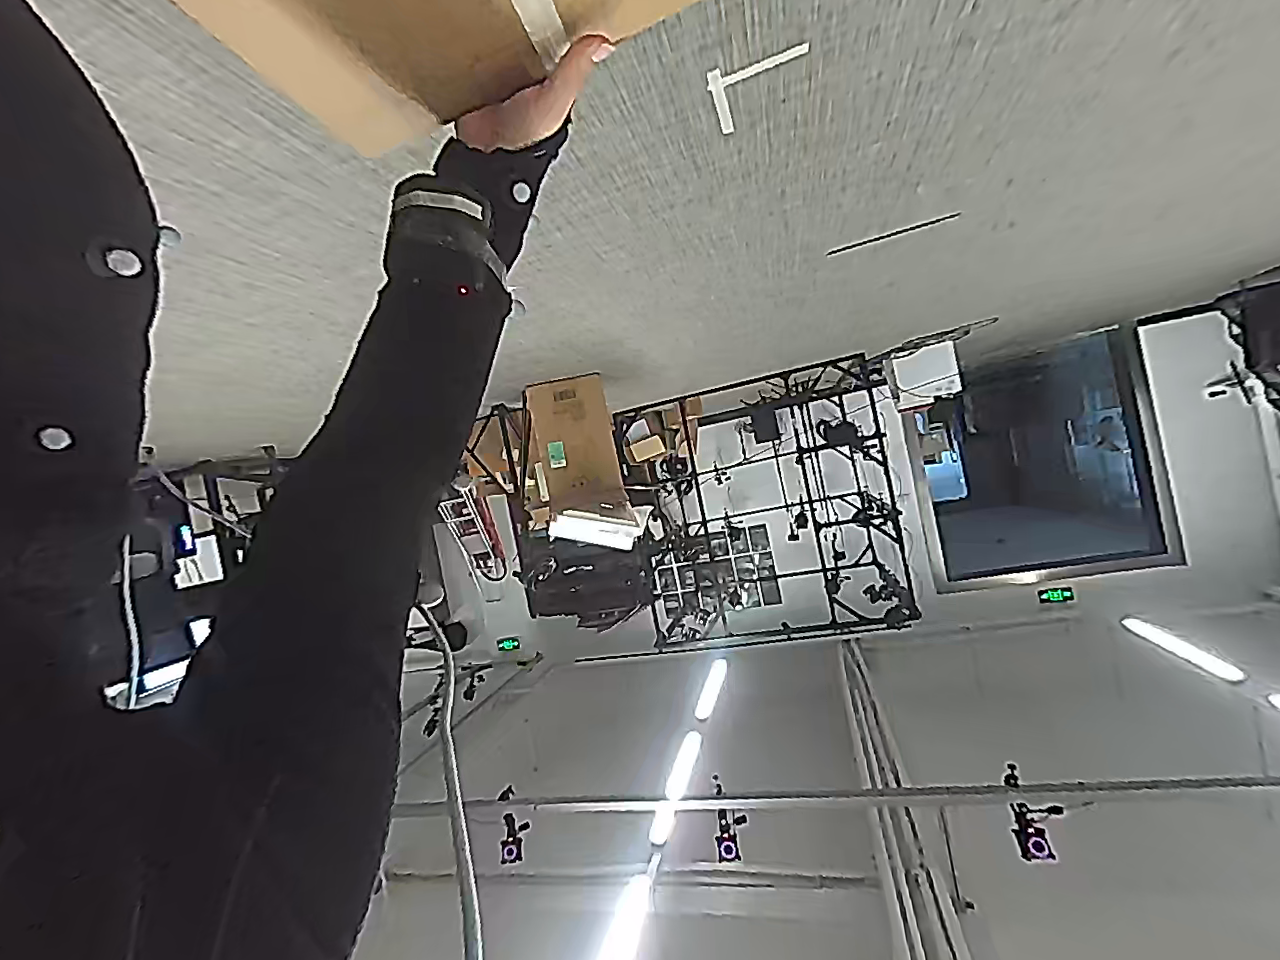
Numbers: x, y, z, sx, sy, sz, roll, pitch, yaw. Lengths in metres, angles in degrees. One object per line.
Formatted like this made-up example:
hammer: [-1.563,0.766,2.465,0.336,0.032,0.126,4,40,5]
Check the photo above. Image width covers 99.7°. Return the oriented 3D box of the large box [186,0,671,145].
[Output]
large box: [-0.140,-0.418,0.169,0.320,0.320,0.408,-18,180,10]
